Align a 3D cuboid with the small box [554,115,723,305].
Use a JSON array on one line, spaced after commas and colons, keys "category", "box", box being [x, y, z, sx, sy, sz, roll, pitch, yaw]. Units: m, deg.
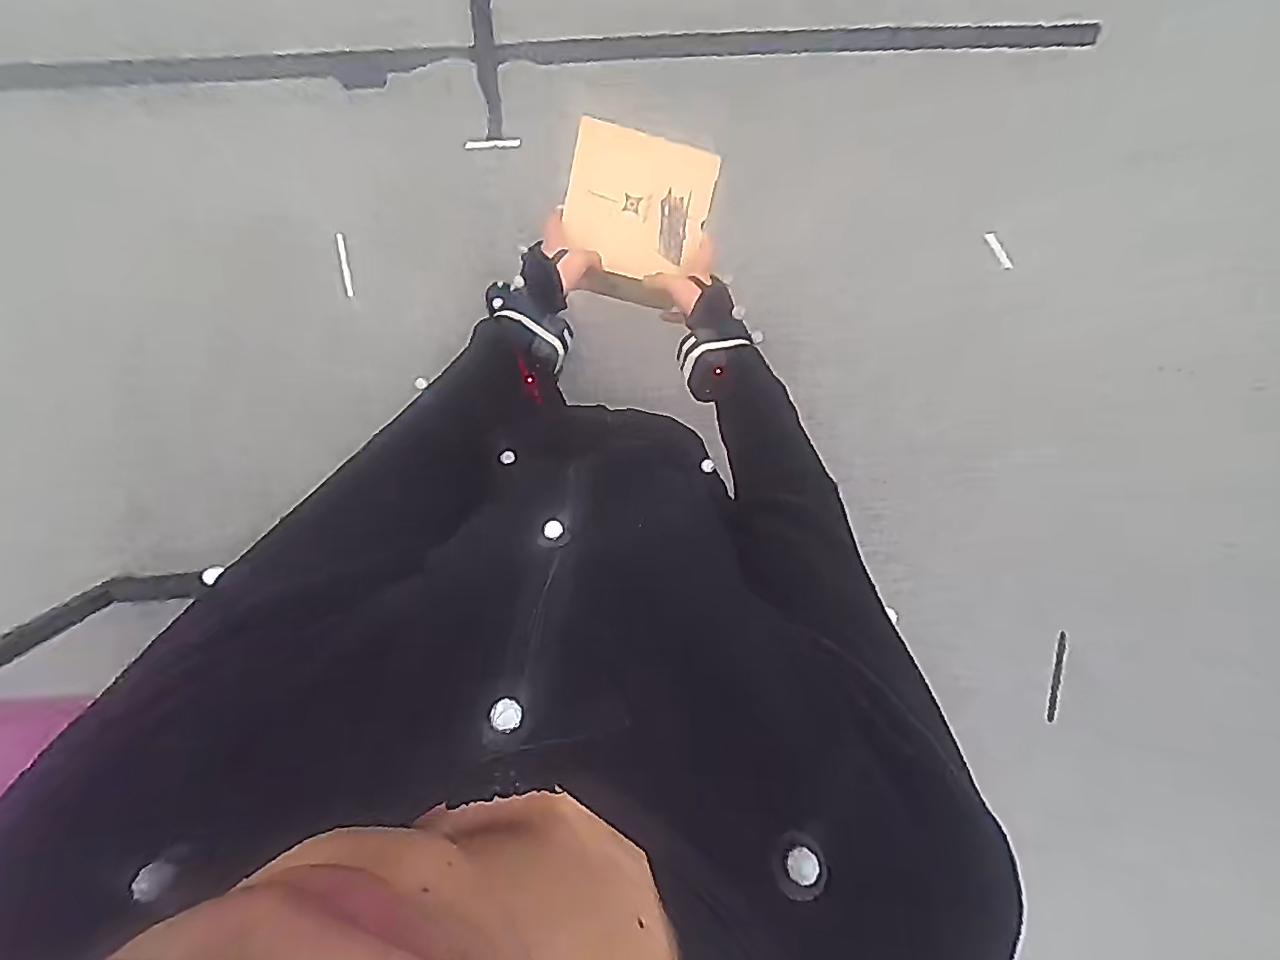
[{"category": "small box", "box": [-0.010, -0.345, 0.731, 0.179, 0.176, 0.168, 13, 98, -8]}]
